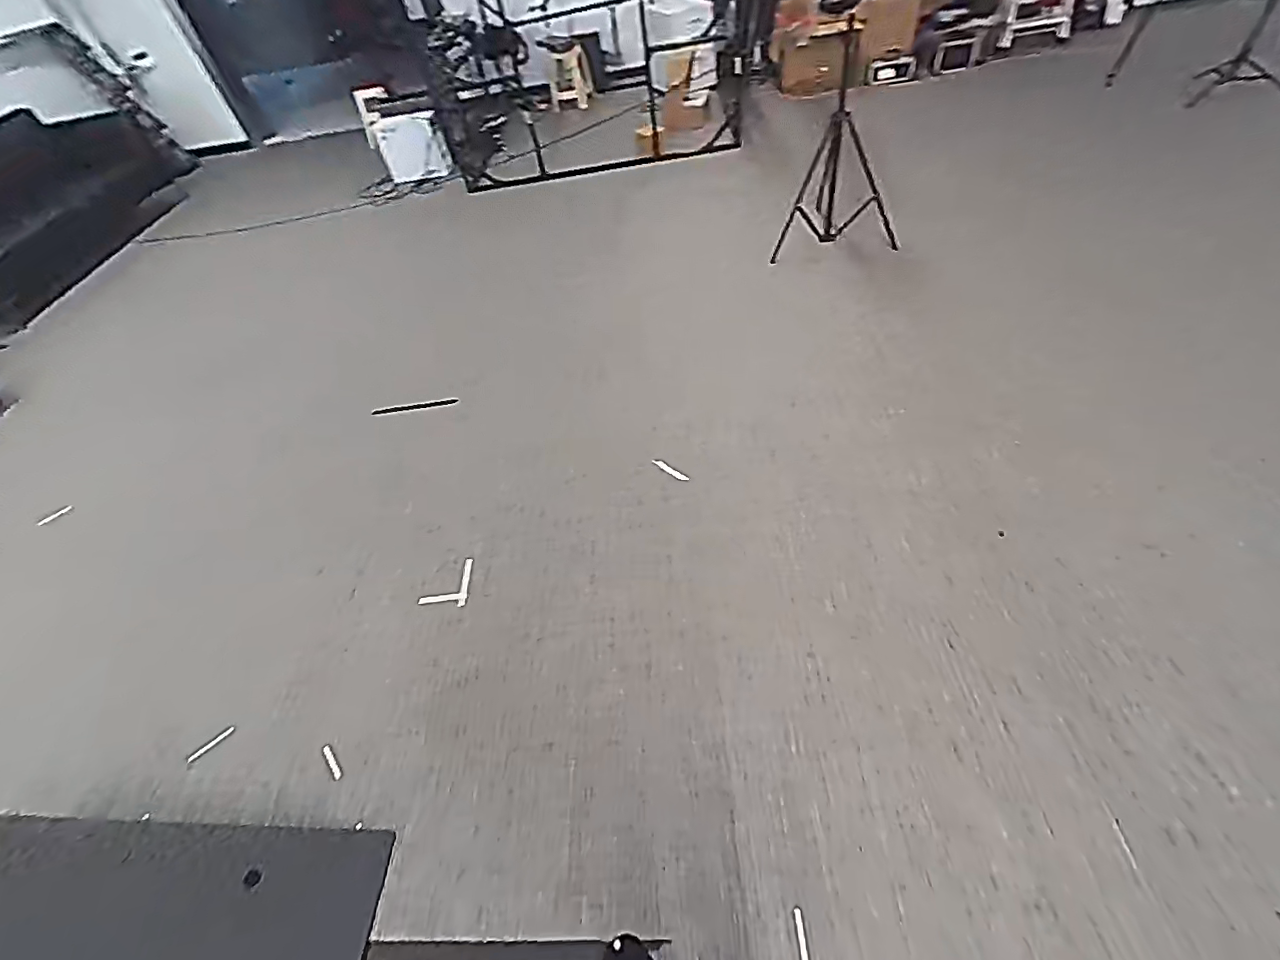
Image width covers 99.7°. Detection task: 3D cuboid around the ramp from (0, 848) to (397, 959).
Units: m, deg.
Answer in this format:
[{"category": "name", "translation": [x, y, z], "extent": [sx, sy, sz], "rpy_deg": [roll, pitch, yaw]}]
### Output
[{"category": "ramp", "translation": [-1.074, 1.066, 1.128], "extent": [0.991, 0.206, 0.509], "rpy_deg": [-6, 46, 6]}]
